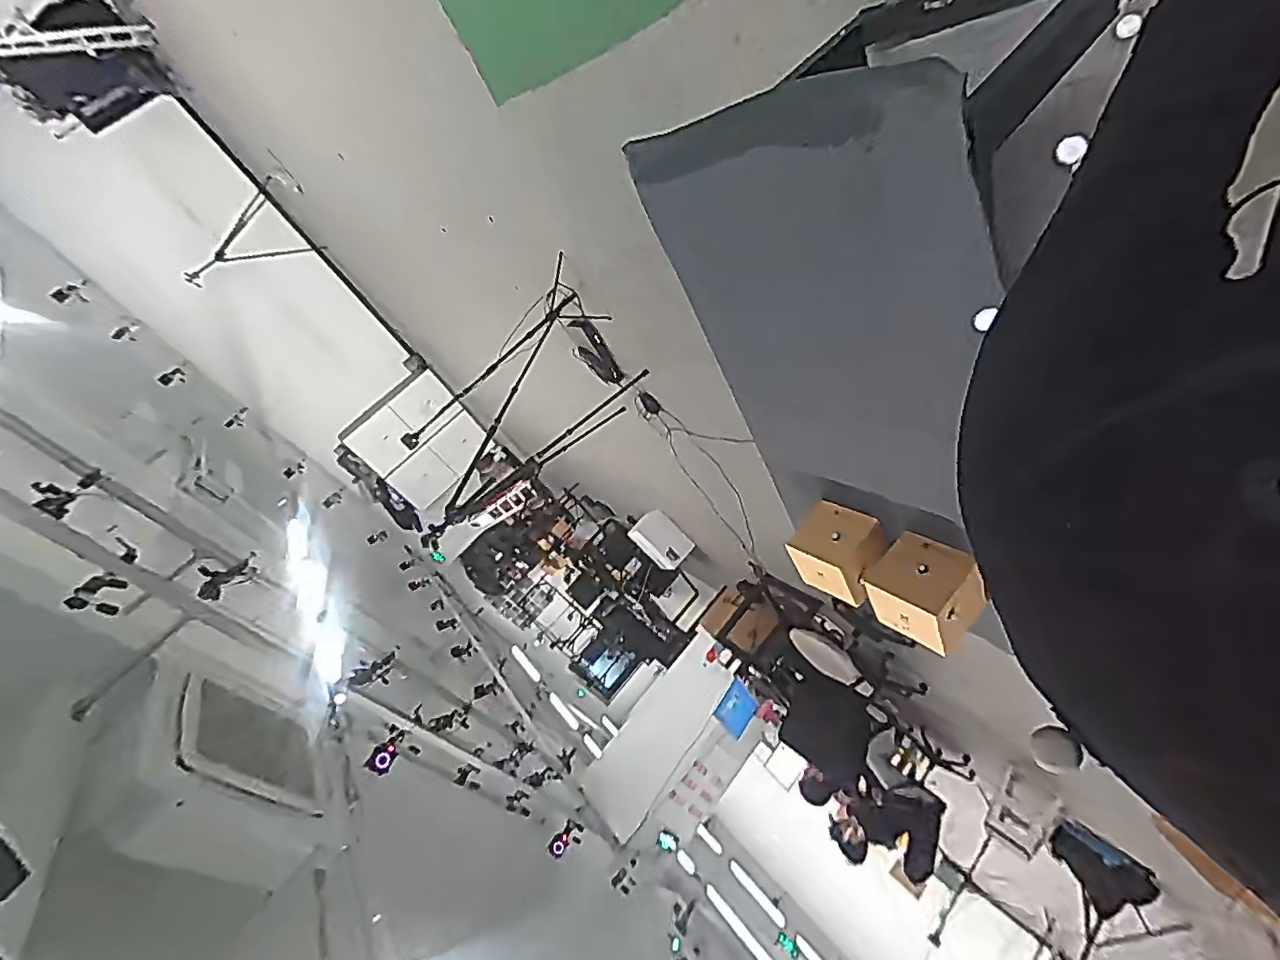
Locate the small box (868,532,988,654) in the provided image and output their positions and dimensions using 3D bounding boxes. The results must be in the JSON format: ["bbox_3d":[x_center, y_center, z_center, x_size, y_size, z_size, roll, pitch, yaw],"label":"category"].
[{"bbox_3d":[0.646,0.245,1.208,0.168,0.176,0.179,27,158,51],"label":"small box"}]

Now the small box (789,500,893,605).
[{"bbox_3d":[0.517,0.178,1.378,0.168,0.176,0.179,24,156,51],"label":"small box"}]
